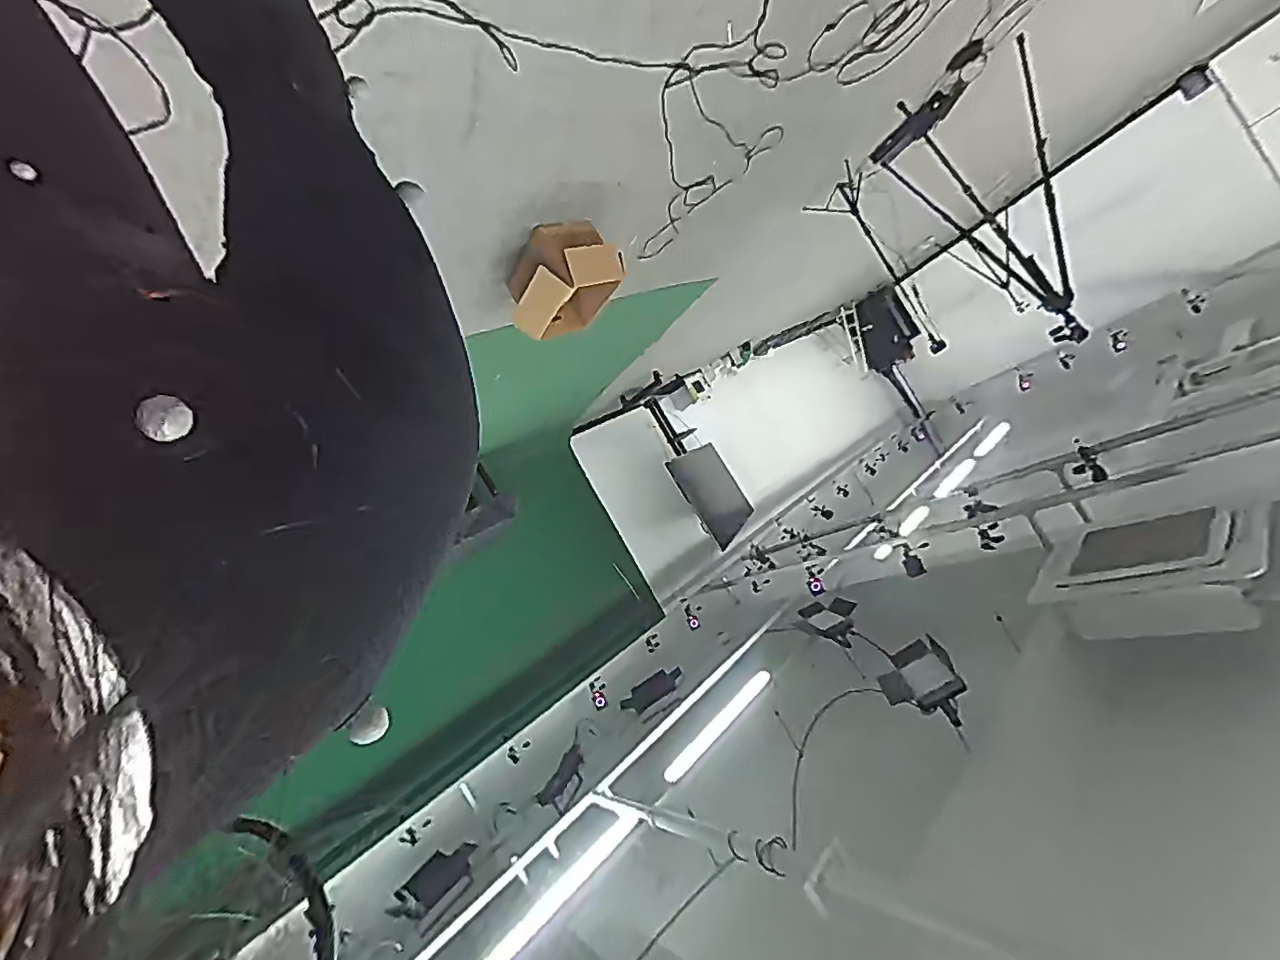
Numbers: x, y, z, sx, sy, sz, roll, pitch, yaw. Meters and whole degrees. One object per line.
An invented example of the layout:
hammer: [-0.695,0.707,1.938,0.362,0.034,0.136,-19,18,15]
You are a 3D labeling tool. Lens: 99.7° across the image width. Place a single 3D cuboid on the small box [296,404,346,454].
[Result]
small box: [-1.622,-0.261,2.744,0.179,0.176,0.168,-30,179,-34]
